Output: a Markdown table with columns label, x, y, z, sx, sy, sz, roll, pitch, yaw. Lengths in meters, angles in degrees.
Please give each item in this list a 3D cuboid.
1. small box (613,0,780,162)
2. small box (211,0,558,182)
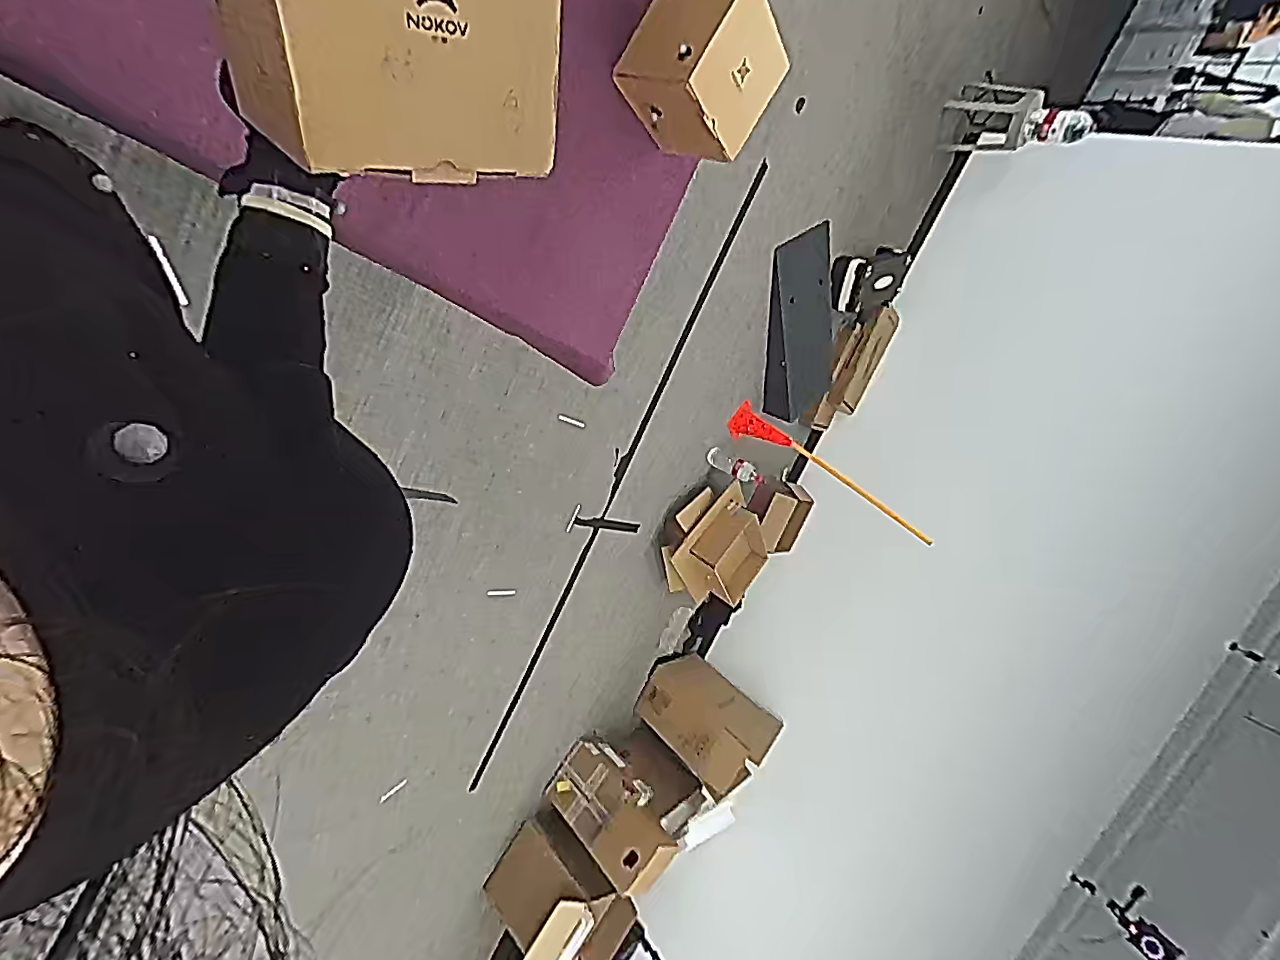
| label | x | y | z | sx | sy | sz | roll | pitch | yaw |
| --- | --- | --- | --- | --- | --- | --- | --- | --- | --- |
| small box | 0.088 | -0.653 | 0.860 | 0.179 | 0.176 | 0.168 | -58 | 146 | 6 |
| small box | -0.170 | -0.316 | 0.354 | 0.168 | 0.176 | 0.179 | -23 | 140 | -36 |
